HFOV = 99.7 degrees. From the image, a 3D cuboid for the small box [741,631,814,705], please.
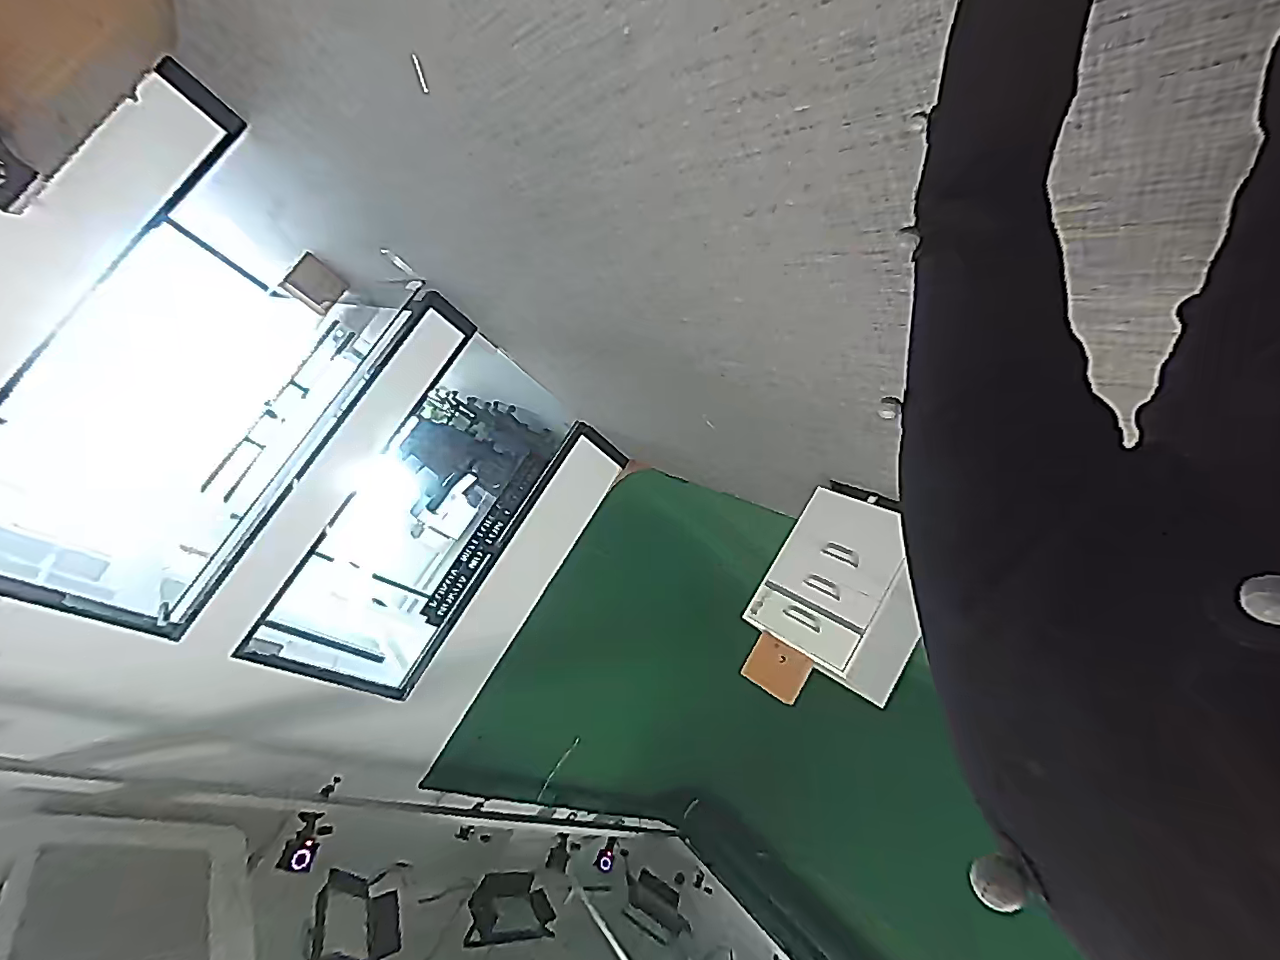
[{"bbox_3d":[0.471,0.635,1.827,0.168,0.176,0.179,27,170,32],"label":"small box"}]
